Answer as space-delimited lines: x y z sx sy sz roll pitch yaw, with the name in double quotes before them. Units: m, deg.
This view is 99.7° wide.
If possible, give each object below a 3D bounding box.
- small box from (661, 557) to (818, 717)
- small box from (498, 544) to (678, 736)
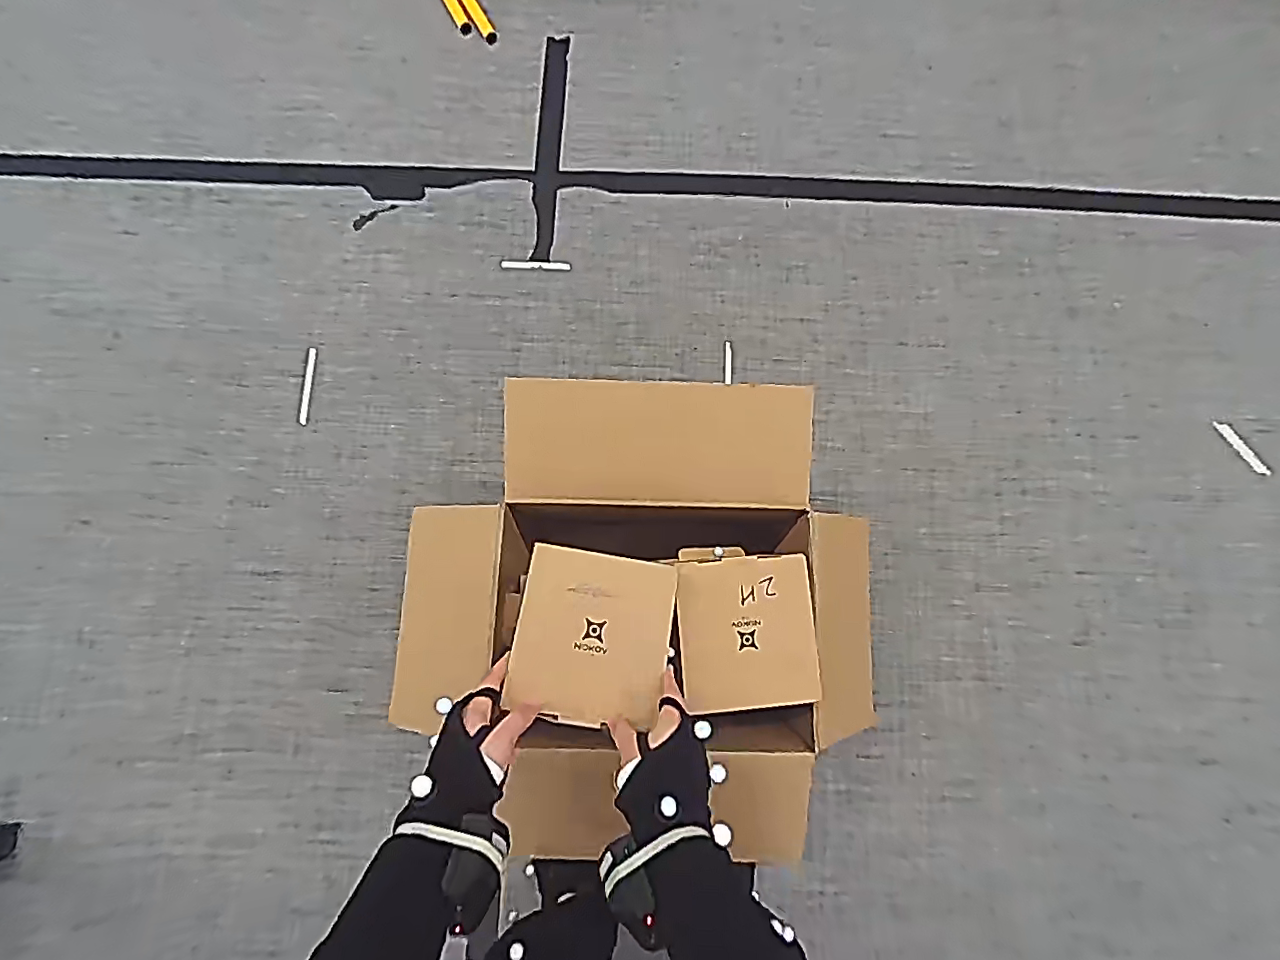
"small box" 0.117 0.194 0.717 0.168 0.176 0.179 -4 82 -6
"small box" -0.060 0.190 0.645 0.168 0.176 0.179 11 70 -5
